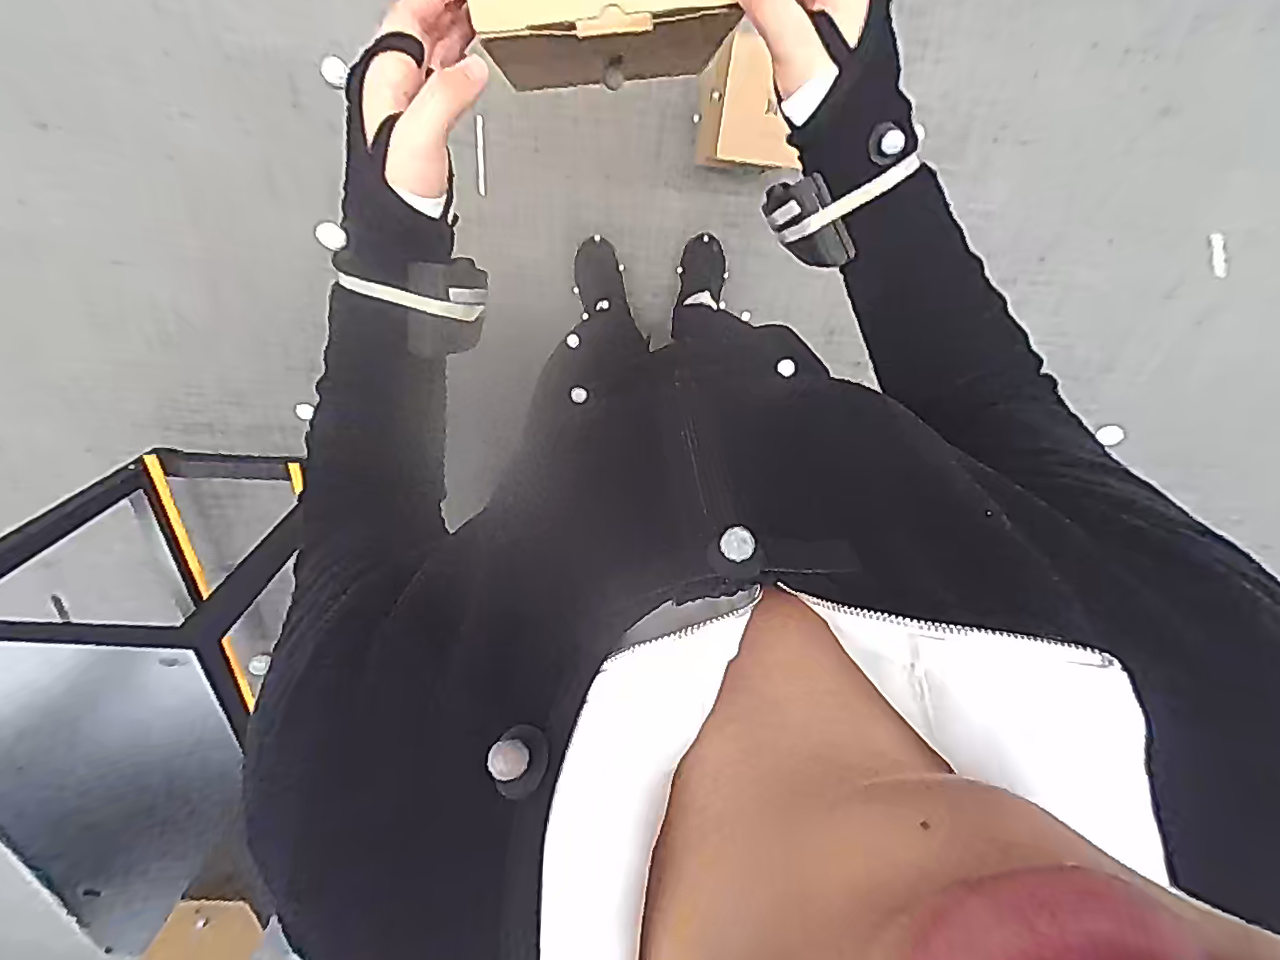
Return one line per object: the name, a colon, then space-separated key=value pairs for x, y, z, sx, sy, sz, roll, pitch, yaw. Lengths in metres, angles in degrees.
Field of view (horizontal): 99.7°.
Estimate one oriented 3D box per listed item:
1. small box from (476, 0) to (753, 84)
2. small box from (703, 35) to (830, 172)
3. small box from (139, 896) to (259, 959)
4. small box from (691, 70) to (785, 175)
small box: x=-0.024 y=-0.379 z=0.353 sx=0.168 sy=0.176 sz=0.179 roll=-7 pitch=118 yaw=0
small box: x=0.214 y=-0.665 z=0.973 sx=0.168 sy=0.176 sz=0.179 roll=4 pitch=121 yaw=-4
small box: x=-1.070 y=1.151 z=1.316 sx=0.168 sy=0.176 sz=0.179 roll=4 pitch=119 yaw=-4
small box: x=0.211 y=-0.737 z=1.119 sx=0.179 sy=0.176 sz=0.168 roll=3 pitch=120 yaw=-4
